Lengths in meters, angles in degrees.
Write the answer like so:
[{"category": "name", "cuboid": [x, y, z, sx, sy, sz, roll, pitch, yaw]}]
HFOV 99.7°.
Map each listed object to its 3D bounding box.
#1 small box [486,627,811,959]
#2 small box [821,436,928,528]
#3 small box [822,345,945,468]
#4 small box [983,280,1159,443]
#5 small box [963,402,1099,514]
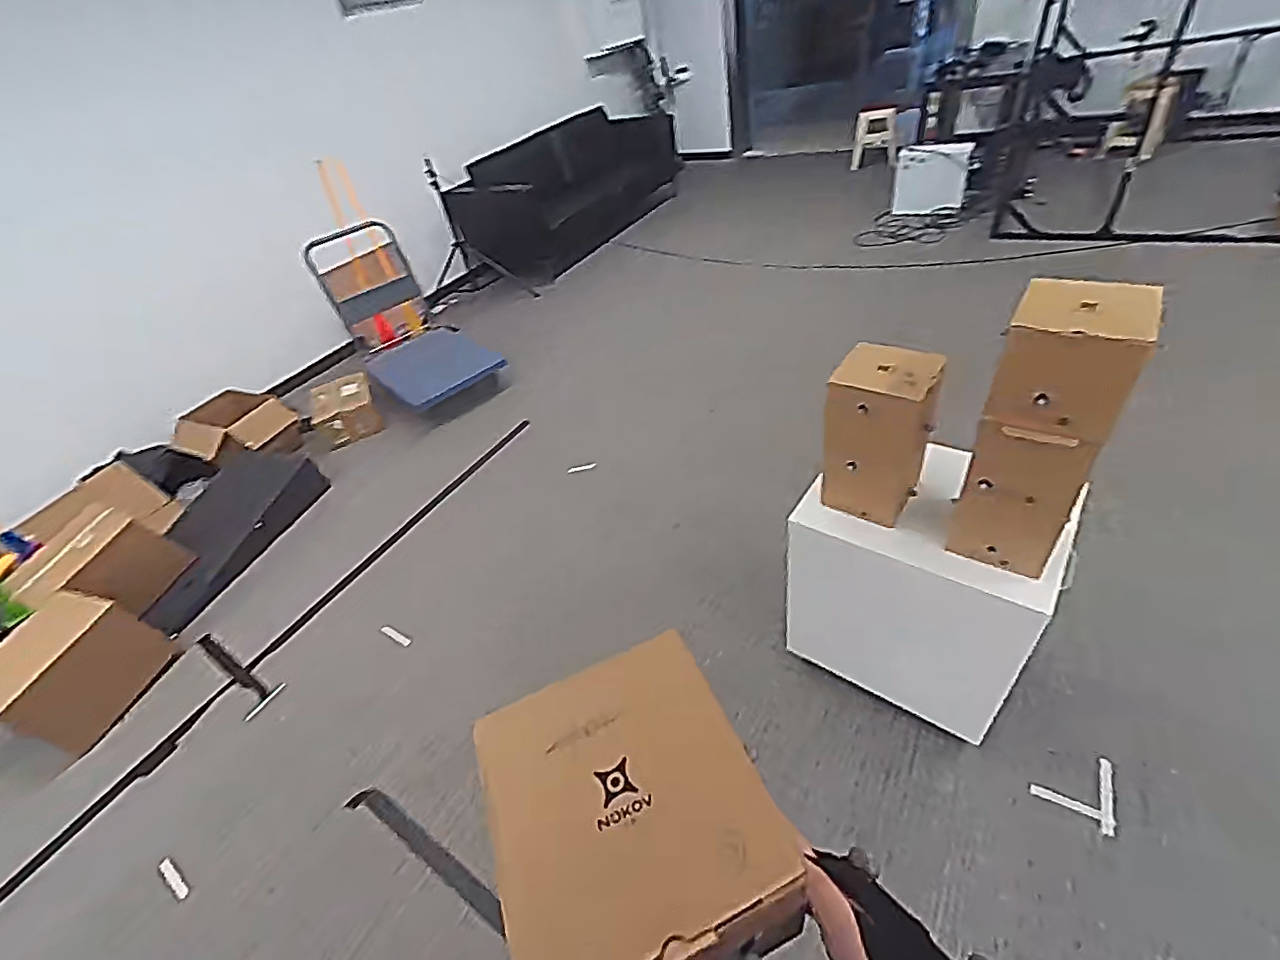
[{"category": "small box", "cuboid": [0.006, 0.249, 0.396, 0.168, 0.176, 0.179, -21, 42, -10]}, {"category": "small box", "cuboid": [0.511, -0.027, 1.196, 0.168, 0.176, 0.179, 21, 50, 34]}, {"category": "small box", "cuboid": [0.481, -0.147, 1.086, 0.179, 0.176, 0.168, 21, 52, 33]}, {"category": "small box", "cuboid": [0.657, -0.187, 0.837, 0.168, 0.176, 0.179, 19, 51, 32]}, {"category": "small box", "cuboid": [0.685, -0.068, 0.944, 0.168, 0.176, 0.179, 19, 50, 32]}]
